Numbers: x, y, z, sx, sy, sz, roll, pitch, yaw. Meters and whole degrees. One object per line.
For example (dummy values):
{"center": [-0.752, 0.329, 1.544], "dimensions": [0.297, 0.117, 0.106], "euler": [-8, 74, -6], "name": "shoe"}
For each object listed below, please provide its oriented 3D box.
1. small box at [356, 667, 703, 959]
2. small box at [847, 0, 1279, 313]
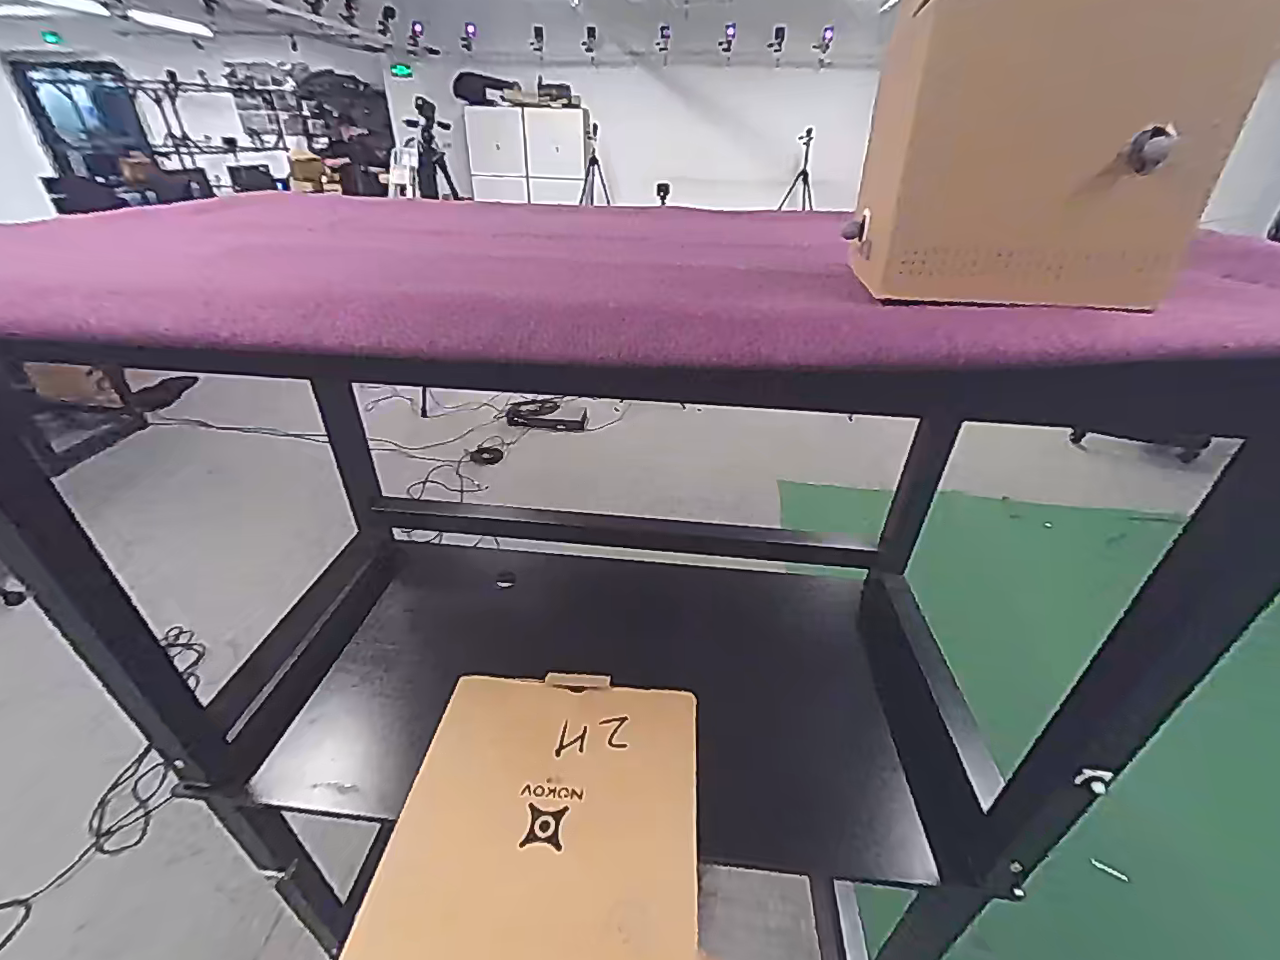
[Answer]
{"center": [-0.046, 0.253, 0.354], "dimensions": [0.168, 0.176, 0.179], "euler": [4, 32, 4], "name": "small box"}
{"center": [0.267, -0.224, 0.397], "dimensions": [0.179, 0.176, 0.168], "euler": [5, 30, 10], "name": "small box"}
